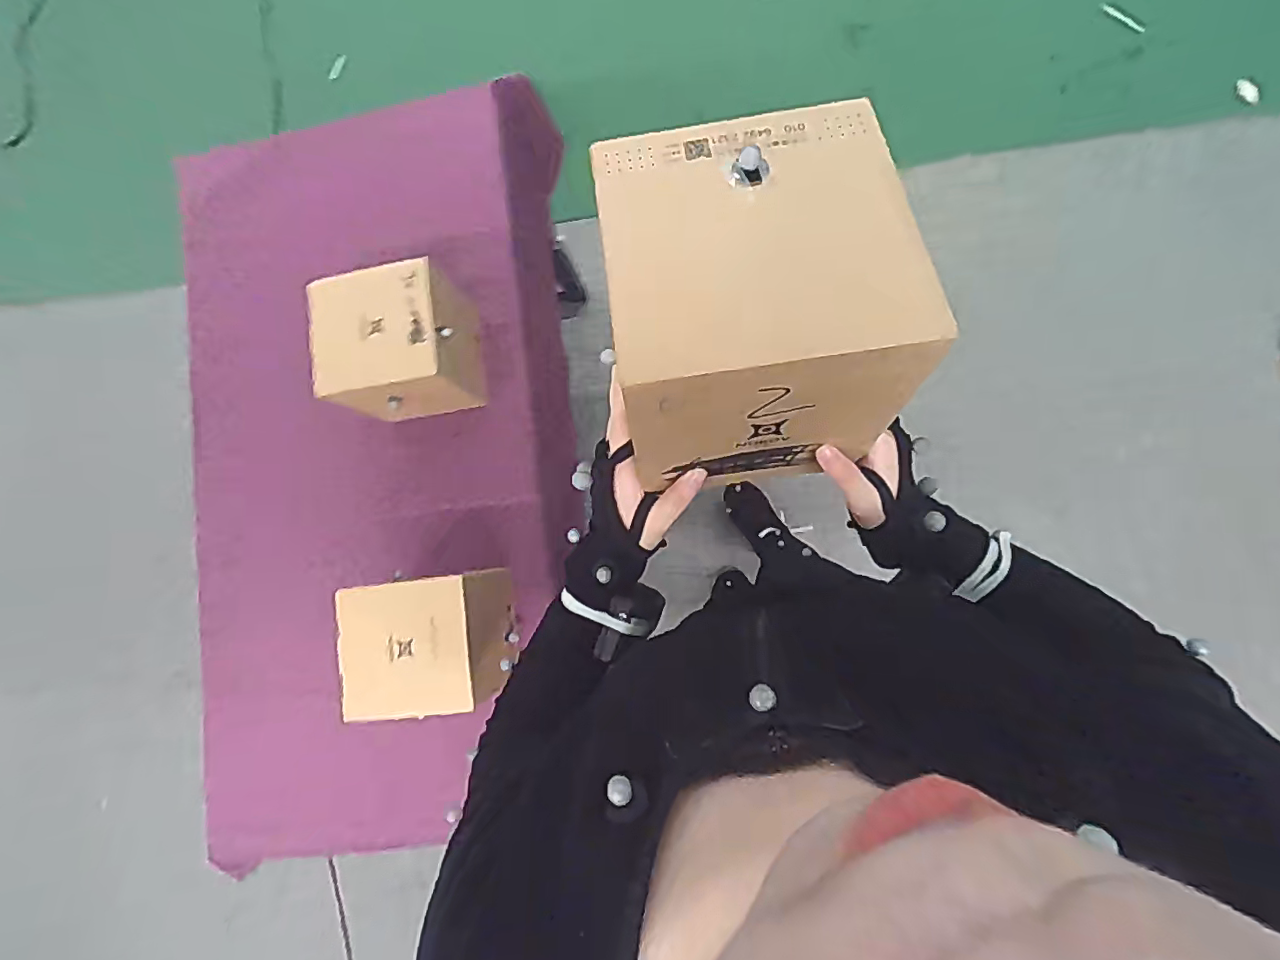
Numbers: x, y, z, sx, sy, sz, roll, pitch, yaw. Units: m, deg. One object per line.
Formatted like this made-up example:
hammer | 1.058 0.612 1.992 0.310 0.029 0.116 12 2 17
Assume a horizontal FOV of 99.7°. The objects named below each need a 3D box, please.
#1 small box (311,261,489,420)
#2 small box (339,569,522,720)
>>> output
small box | -0.347 -0.194 0.803 0.179 0.176 0.168 -9 84 8
small box | -0.282 0.219 0.754 0.179 0.176 0.168 -8 84 7
